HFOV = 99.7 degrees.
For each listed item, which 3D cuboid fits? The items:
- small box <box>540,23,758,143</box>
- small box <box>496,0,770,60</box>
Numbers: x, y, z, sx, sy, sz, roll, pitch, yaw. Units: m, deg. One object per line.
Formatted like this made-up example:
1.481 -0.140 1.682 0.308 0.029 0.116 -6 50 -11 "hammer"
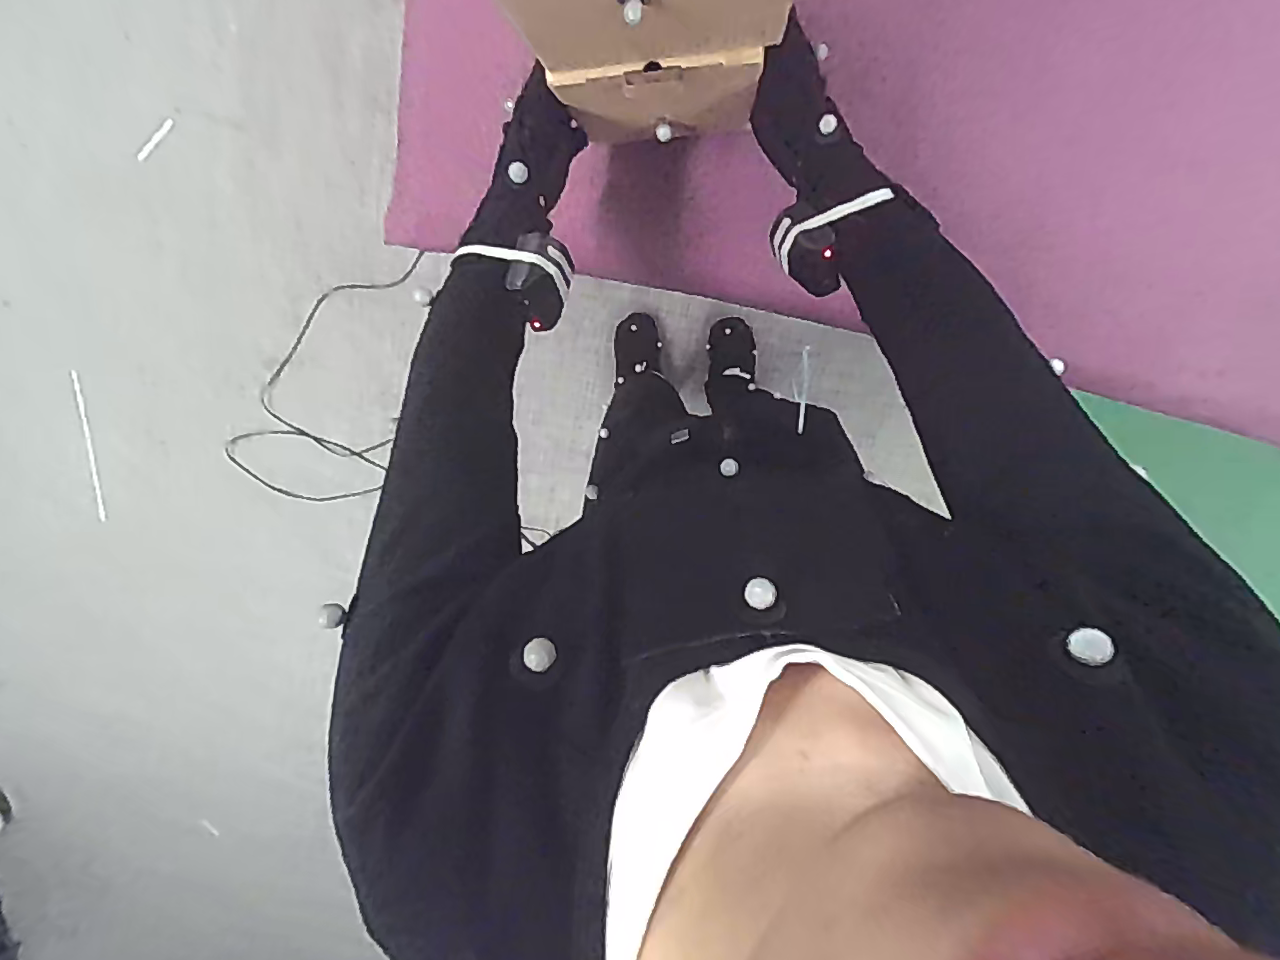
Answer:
0.012 -0.412 0.455 0.168 0.176 0.179 0 108 9 "small box"
-0.004 -0.365 0.296 0.179 0.176 0.168 2 106 7 "small box"
